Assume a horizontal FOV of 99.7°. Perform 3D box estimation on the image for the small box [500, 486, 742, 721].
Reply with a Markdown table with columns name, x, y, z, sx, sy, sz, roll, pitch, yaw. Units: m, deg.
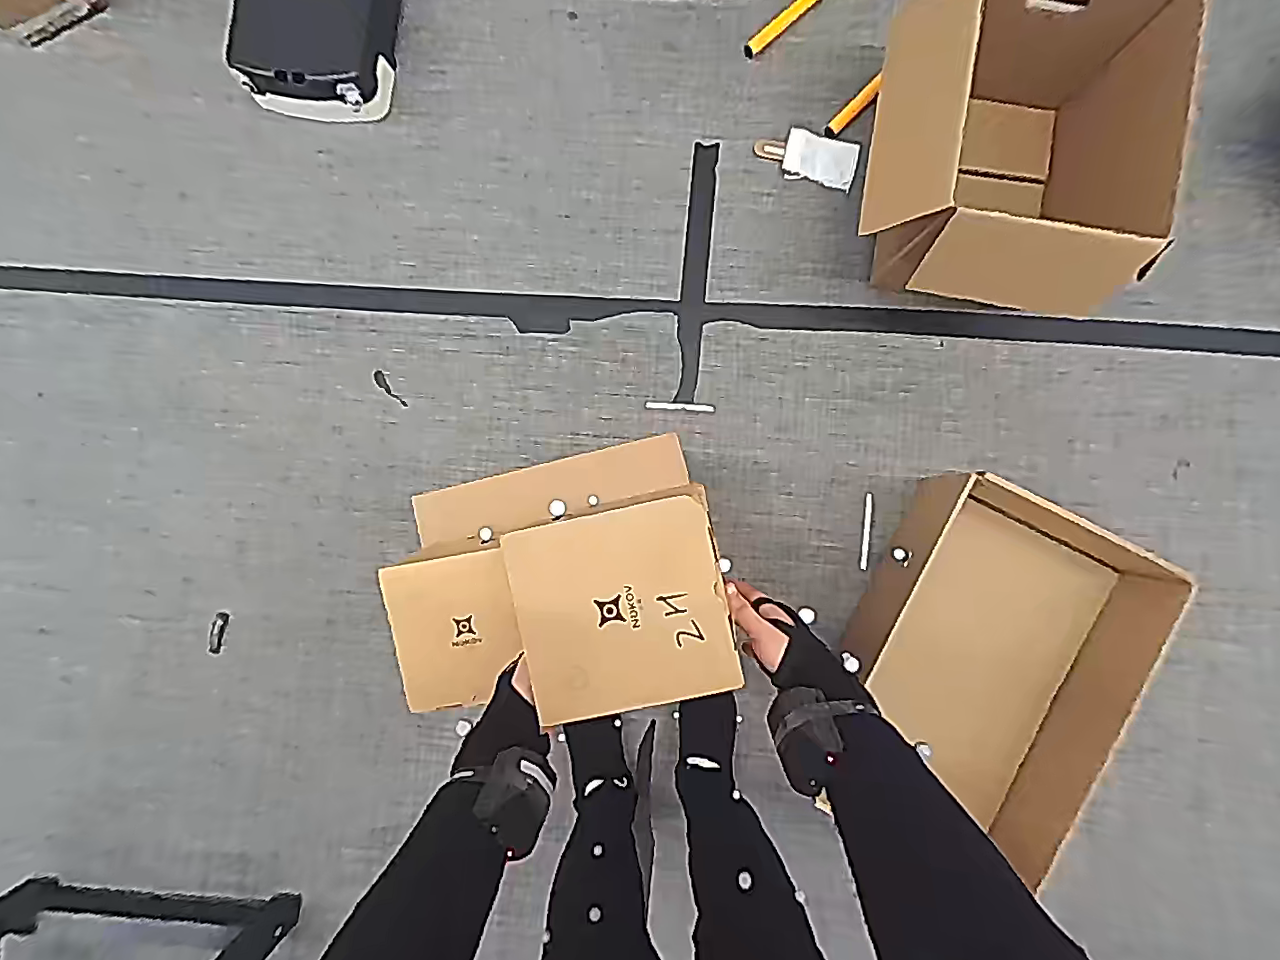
| name | x | y | z | sx | sy | sz | roll | pitch | yaw |
| --- | --- | --- | --- | --- | --- | --- | --- | --- | --- |
| small box | -0.012 | 0.103 | 0.521 | 0.179 | 0.176 | 0.168 | -12 | 89 | 3 |
